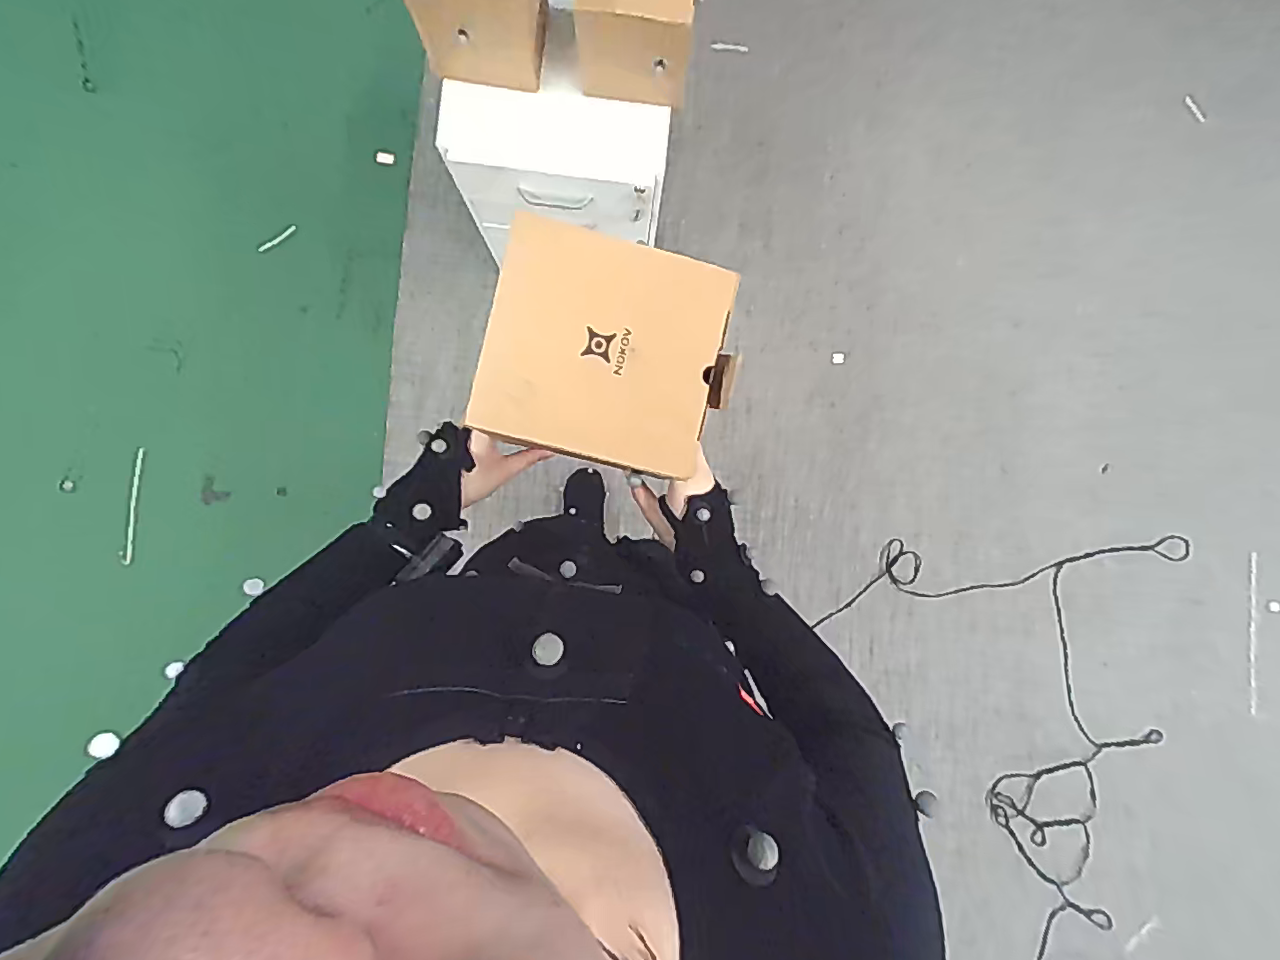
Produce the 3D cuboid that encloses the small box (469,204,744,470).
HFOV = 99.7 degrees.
[{"bbox_3d":[-0.031,-0.106,0.482,0.179,0.176,0.168,14,90,-7],"label":"small box"}]

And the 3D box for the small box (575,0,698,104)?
[{"bbox_3d":[-0.001,-0.736,0.856,0.179,0.176,0.168,6,87,0],"label":"small box"}]

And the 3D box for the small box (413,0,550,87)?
[{"bbox_3d":[-0.246,-0.759,0.844,0.179,0.176,0.168,7,89,-3],"label":"small box"}]
